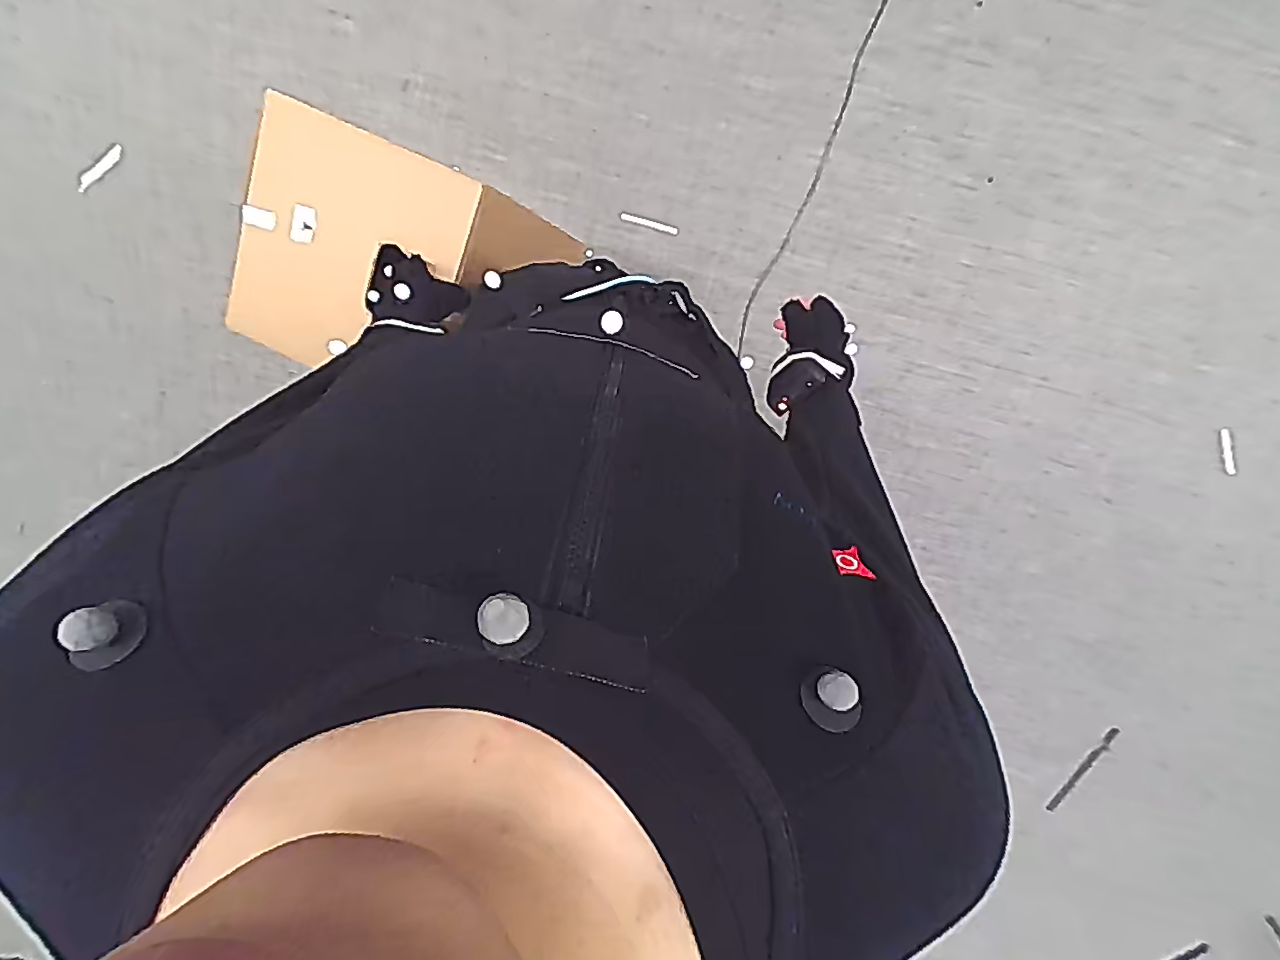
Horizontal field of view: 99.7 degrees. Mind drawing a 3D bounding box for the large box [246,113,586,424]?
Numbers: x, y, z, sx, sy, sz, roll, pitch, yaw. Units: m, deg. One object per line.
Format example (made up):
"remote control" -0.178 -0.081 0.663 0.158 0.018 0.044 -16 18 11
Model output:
"large box" -0.336 -0.321 0.895 0.320 0.408 0.320 27 108 4
